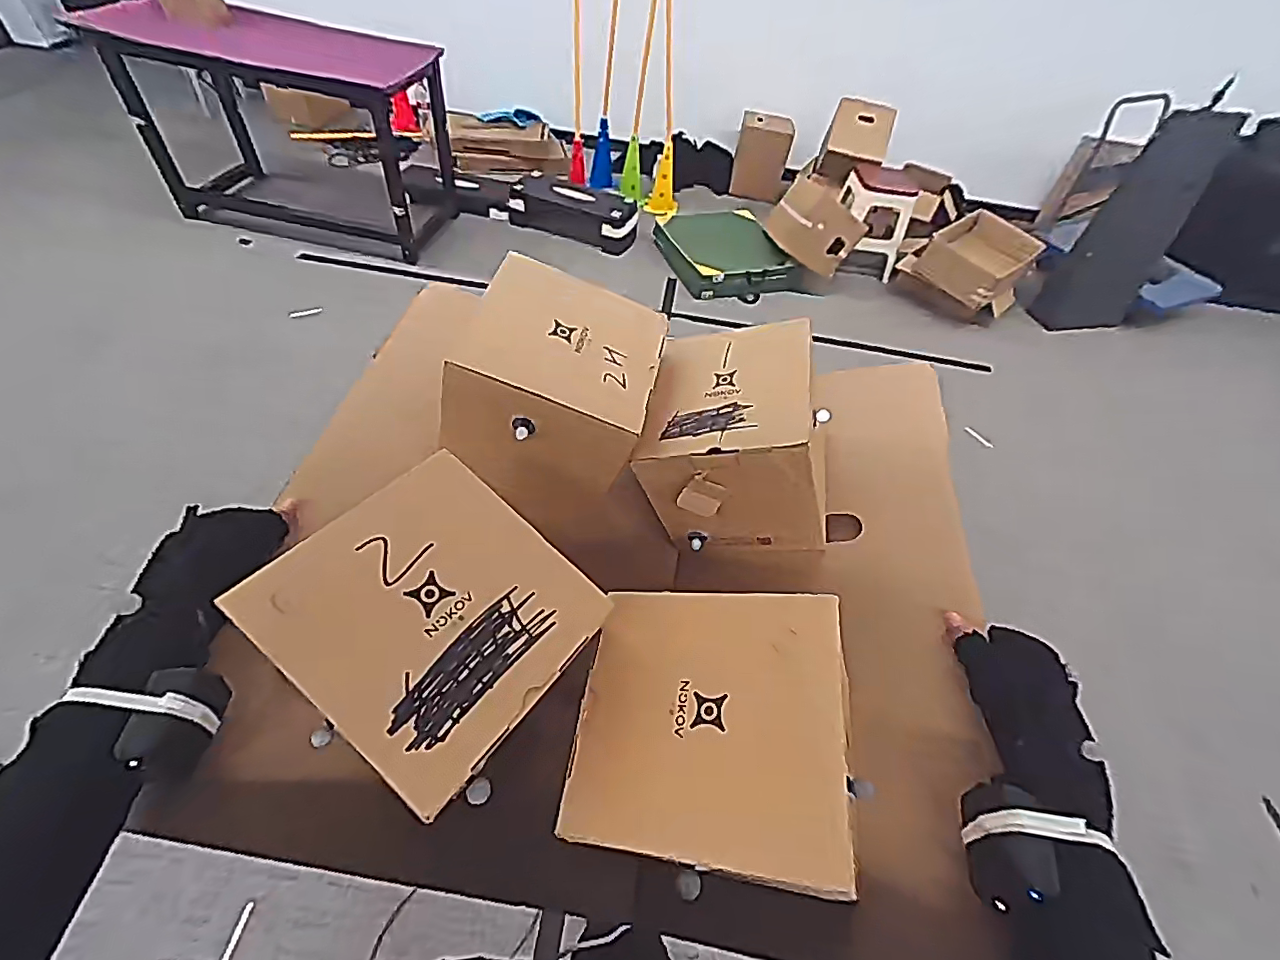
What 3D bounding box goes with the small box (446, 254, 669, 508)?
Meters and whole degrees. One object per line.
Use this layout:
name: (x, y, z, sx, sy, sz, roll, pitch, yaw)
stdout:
small box: (-0.091, -0.093, 0.571, 0.179, 0.176, 0.168, 21, 55, -10)
